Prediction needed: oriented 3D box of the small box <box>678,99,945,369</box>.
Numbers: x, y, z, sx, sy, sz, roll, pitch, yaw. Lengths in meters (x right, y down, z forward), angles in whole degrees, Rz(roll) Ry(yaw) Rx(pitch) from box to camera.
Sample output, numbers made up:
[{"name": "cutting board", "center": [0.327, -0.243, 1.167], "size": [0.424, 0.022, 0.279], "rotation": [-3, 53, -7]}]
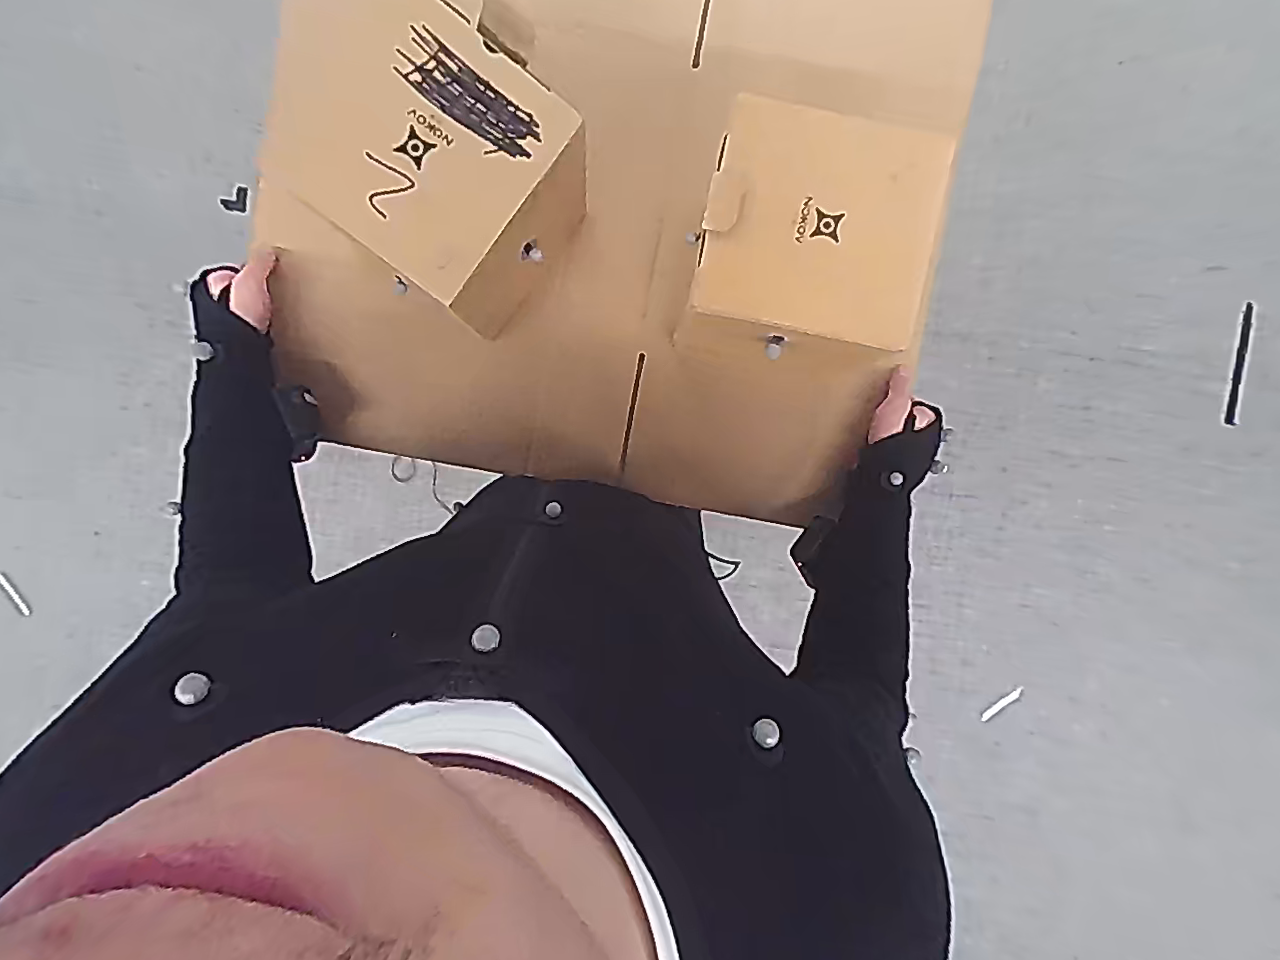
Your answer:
[{"name": "small box", "center": [0.140, -0.207, 0.509], "size": [0.179, 0.176, 0.168], "rotation": [12, 93, 0]}]
